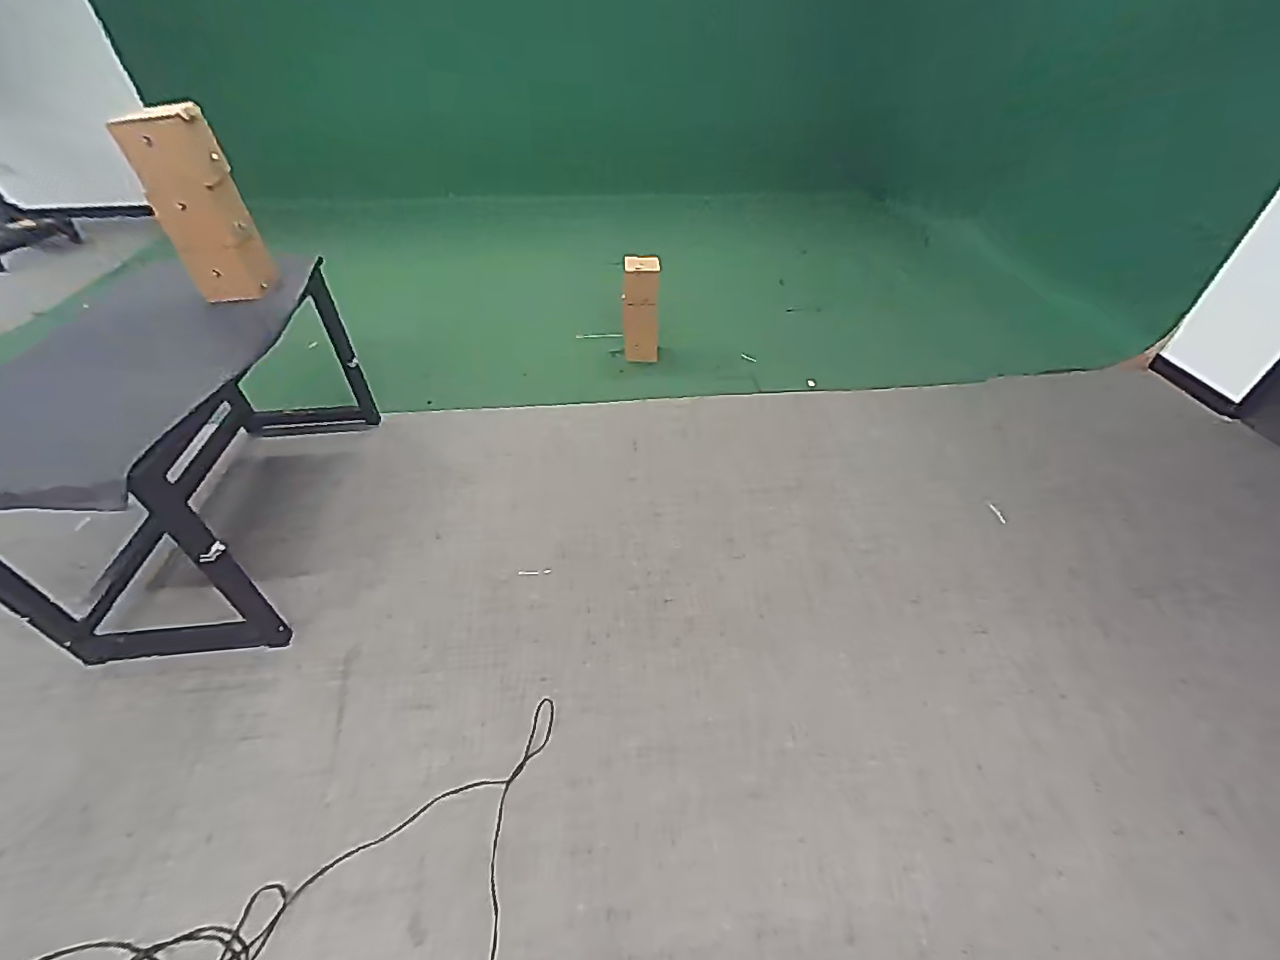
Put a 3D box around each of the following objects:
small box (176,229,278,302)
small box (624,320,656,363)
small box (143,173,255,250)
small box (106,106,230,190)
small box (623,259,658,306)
[{"bbox_3d":[-1.316,-0.690,1.741,0.179,0.176,0.168,-6,44,-2],"label":"small box"},{"bbox_3d":[0.000,-0.737,2.885,0.168,0.176,0.179,2,43,1],"label":"small box"},{"bbox_3d":[-1.315,-0.807,1.629,0.179,0.176,0.168,-7,45,-7],"label":"small box"},{"bbox_3d":[-1.311,-0.928,1.516,0.179,0.176,0.168,-10,46,-8],"label":"small box"},{"bbox_3d":[-0.001,-0.969,2.652,0.168,0.176,0.179,0,42,-3],"label":"small box"}]
